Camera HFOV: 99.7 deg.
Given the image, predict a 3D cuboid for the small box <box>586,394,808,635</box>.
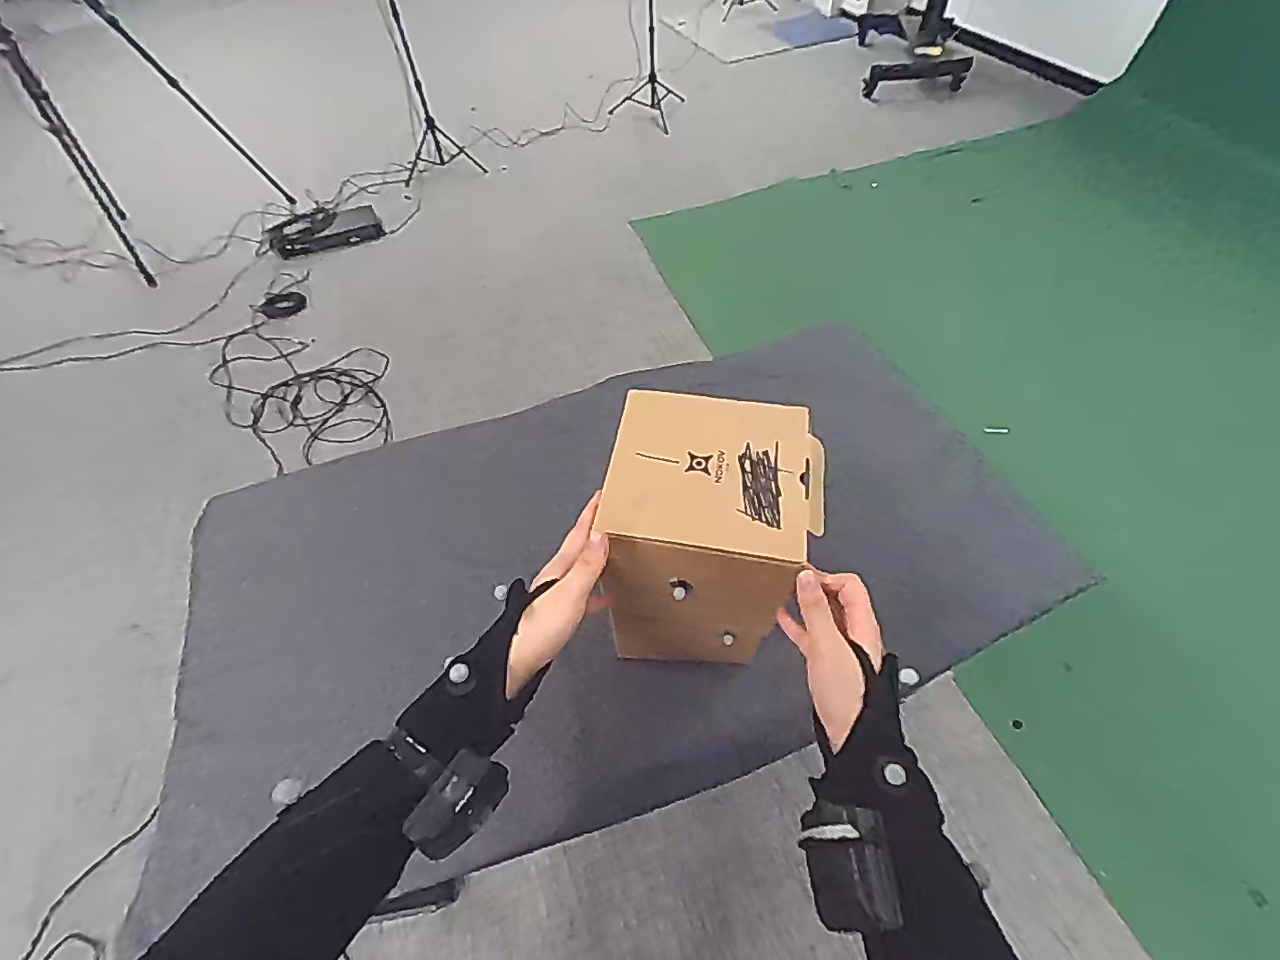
[{"bbox_3d":[0.058,0.041,0.540,0.179,0.176,0.168,9,56,8],"label":"small box"}]
